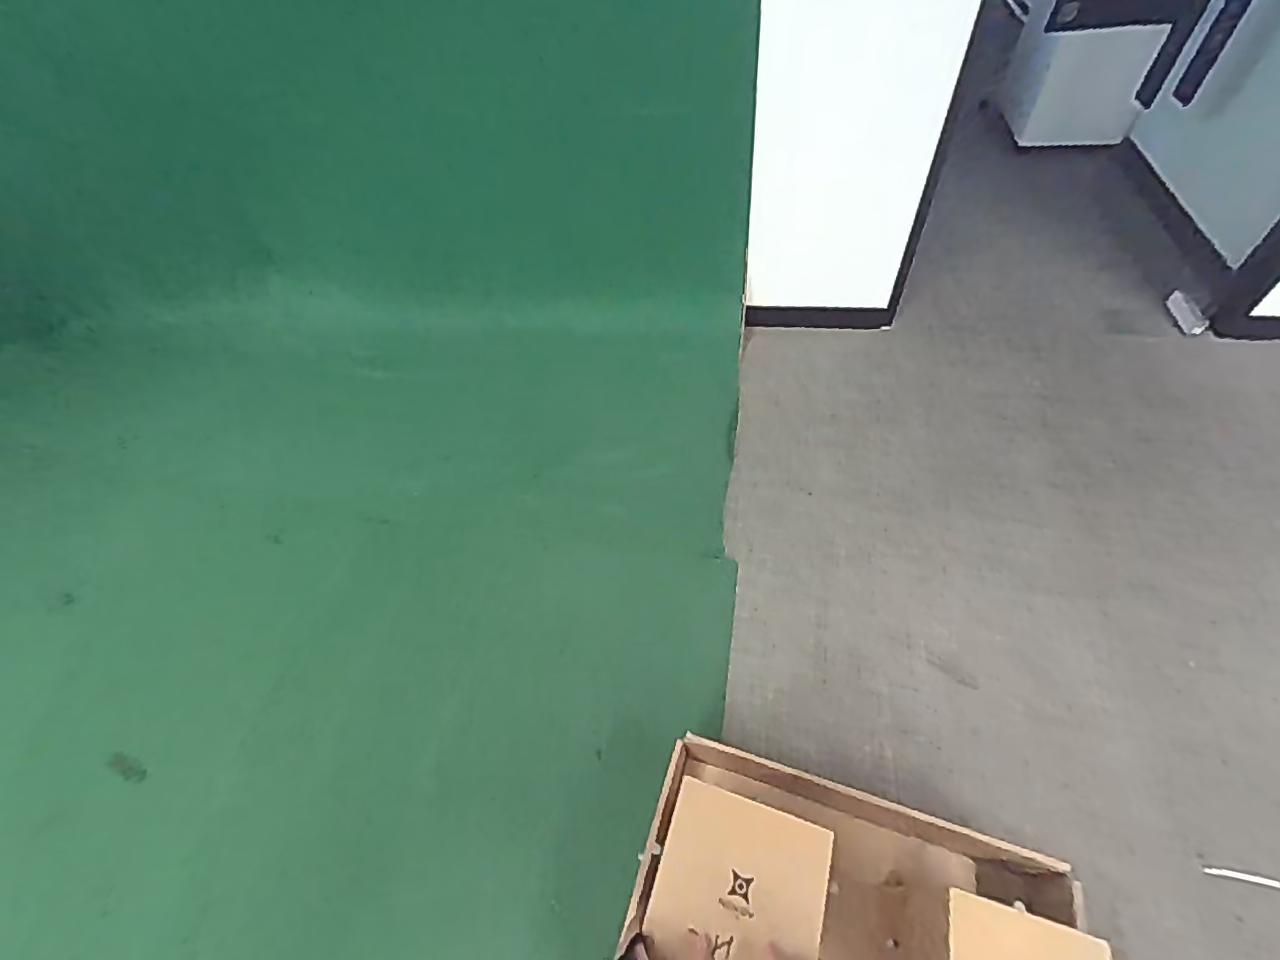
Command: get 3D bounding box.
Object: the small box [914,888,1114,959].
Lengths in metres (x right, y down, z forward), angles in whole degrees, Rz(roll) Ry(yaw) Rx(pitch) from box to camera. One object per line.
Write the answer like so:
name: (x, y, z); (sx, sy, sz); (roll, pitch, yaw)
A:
small box: (0.436, 0.622, 0.647); (0.168, 0.176, 0.179); (11, 56, 17)

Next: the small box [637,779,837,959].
small box: (0.106, 0.465, 0.601); (0.168, 0.176, 0.179); (14, 57, 16)
